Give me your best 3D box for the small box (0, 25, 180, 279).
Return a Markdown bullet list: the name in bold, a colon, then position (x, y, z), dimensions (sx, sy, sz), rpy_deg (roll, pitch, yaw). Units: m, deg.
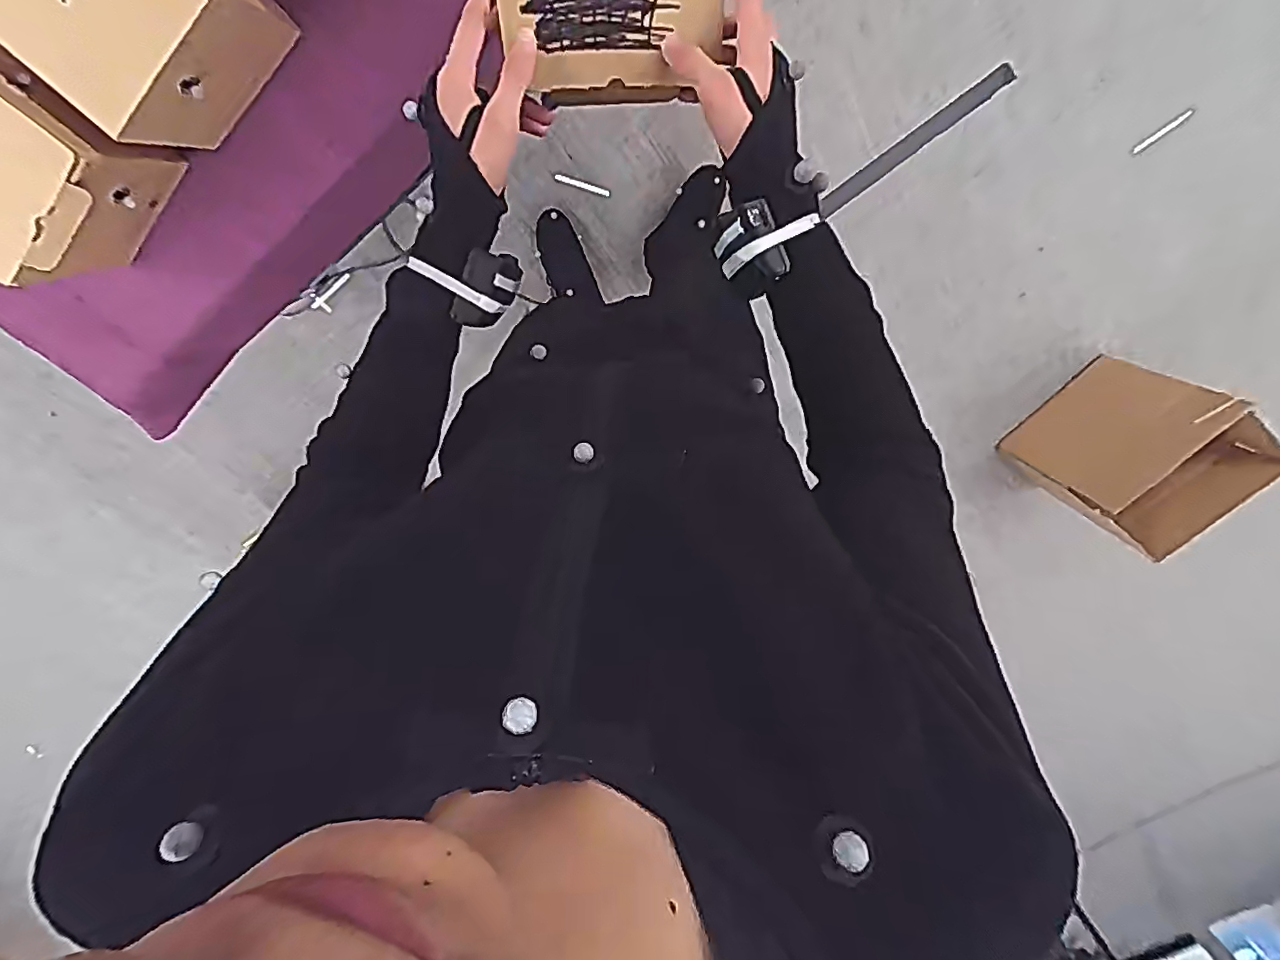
- **small box**: position (-0.642, -0.343, 0.558), dimensions (0.168, 0.176, 0.179), rpy_deg (-43, 115, 15)
